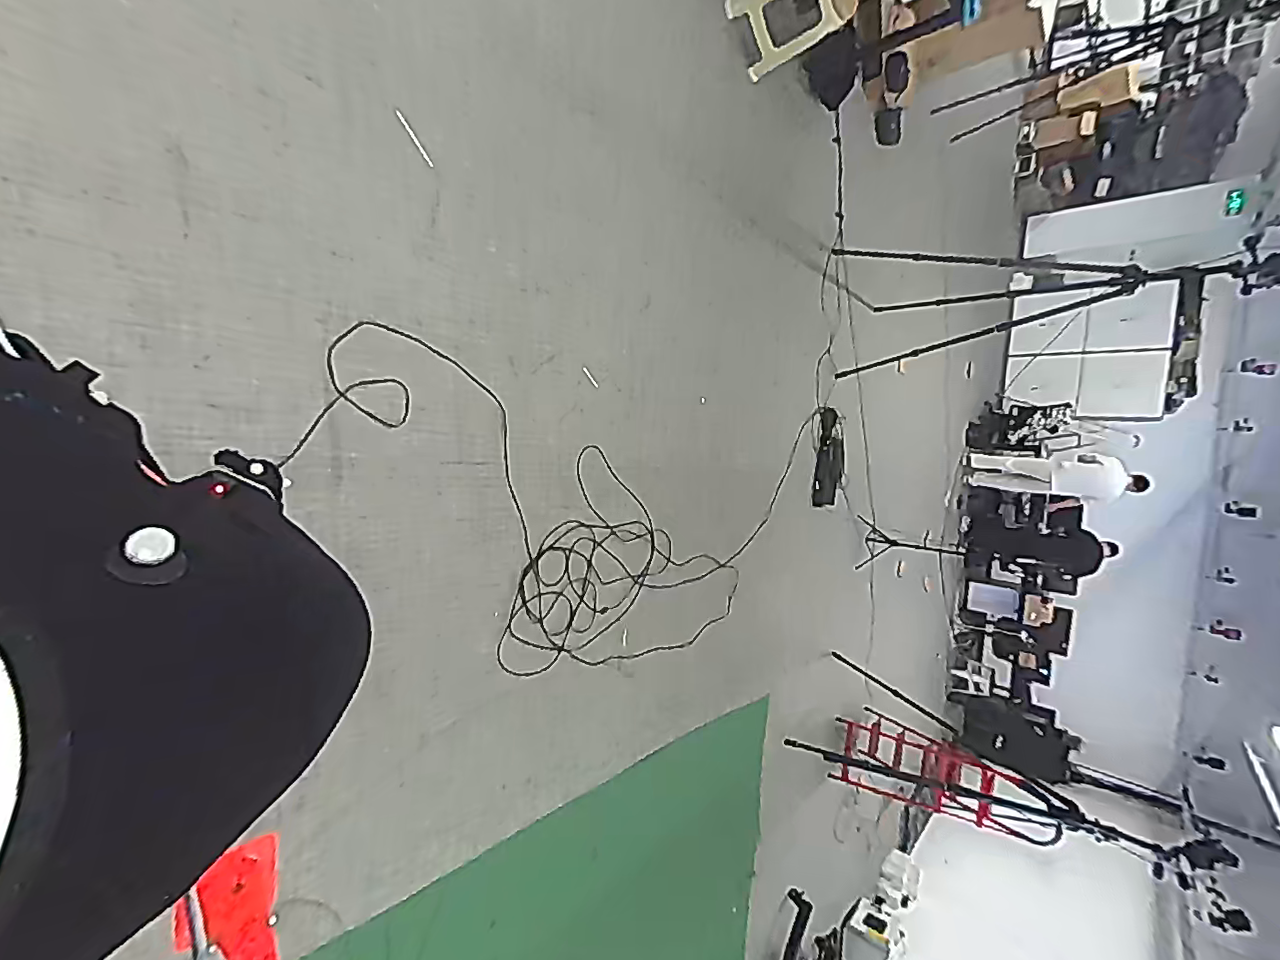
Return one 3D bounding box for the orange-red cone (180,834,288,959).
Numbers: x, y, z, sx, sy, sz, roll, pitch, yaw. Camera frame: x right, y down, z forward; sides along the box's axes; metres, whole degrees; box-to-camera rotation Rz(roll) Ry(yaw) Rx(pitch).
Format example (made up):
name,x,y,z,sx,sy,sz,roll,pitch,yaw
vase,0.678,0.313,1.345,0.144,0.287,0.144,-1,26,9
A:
name,x,y,z,sx,sy,sz,roll,pitch,yaw
orange-red cone,-0.851,0.997,1.190,0.198,0.360,0.199,1,94,-49
